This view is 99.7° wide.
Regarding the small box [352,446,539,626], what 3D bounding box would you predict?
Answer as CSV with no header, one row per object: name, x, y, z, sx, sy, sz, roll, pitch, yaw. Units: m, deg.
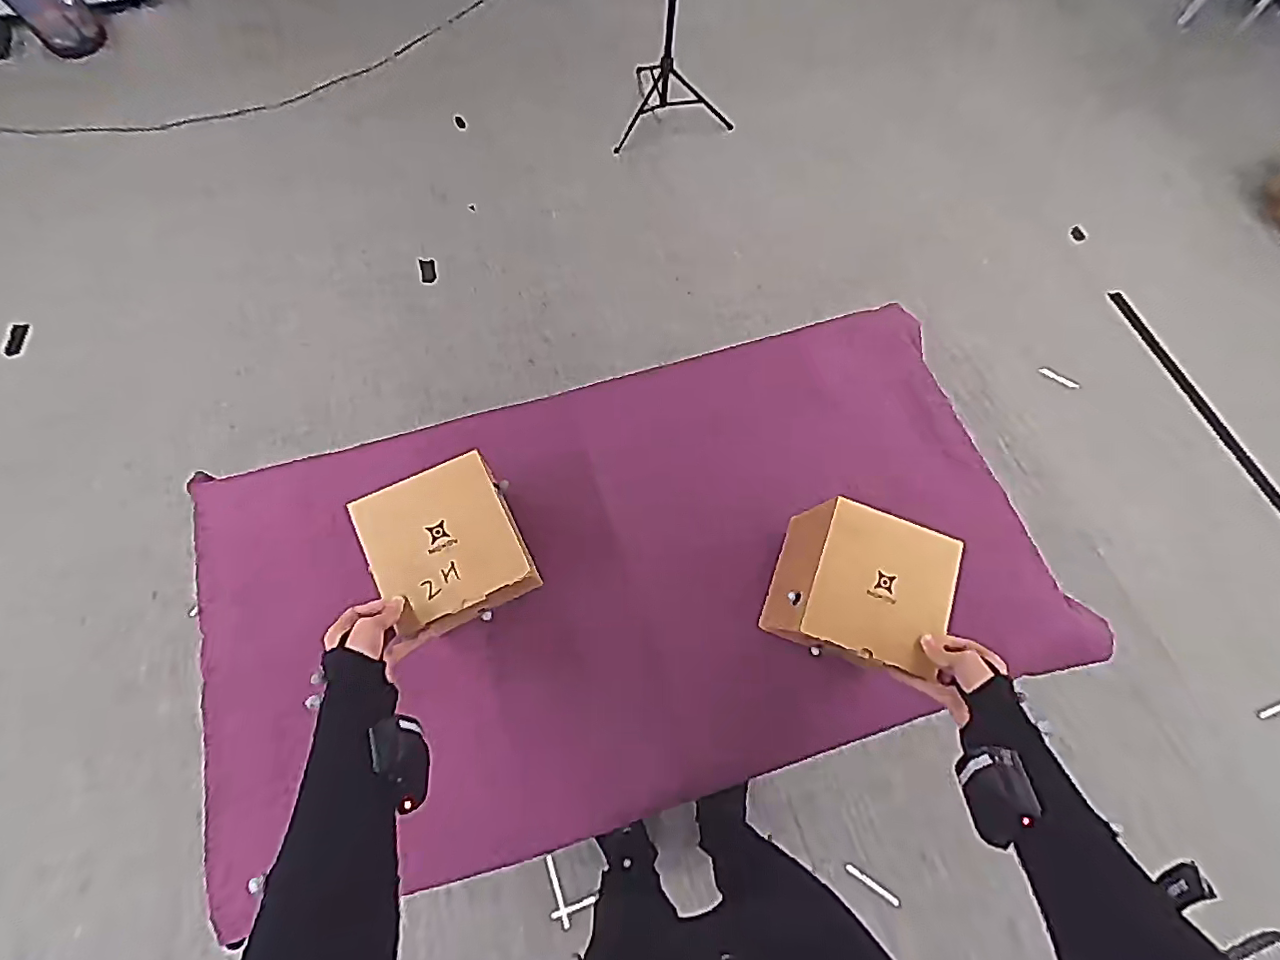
small box,-0.247,0.084,0.726,0.168,0.176,0.179,-24,79,-11

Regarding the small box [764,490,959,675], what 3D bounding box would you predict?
small box,0.282,0.136,0.721,0.168,0.176,0.179,21,77,1
